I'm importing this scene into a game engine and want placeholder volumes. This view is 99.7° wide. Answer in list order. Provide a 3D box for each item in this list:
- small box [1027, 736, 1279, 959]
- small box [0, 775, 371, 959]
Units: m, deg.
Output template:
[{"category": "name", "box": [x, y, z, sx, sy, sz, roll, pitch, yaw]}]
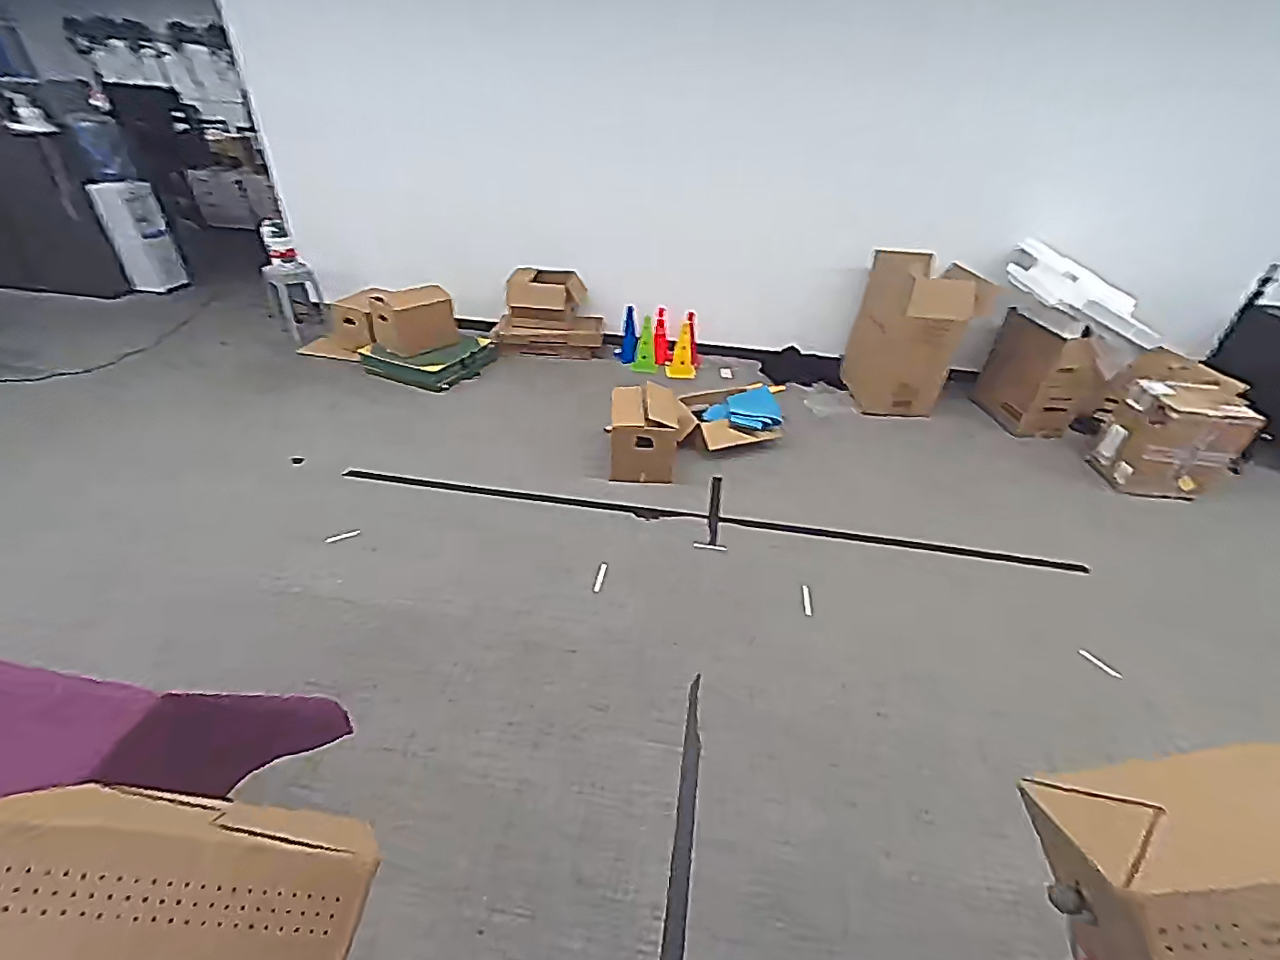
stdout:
[{"category": "small box", "box": [0.329, 0.240, 0.264, 0.168, 0.179, 0.176, -20, 72, 17]}, {"category": "small box", "box": [-0.256, 0.261, 0.275, 0.179, 0.168, 0.176, 21, 57, -17]}]
